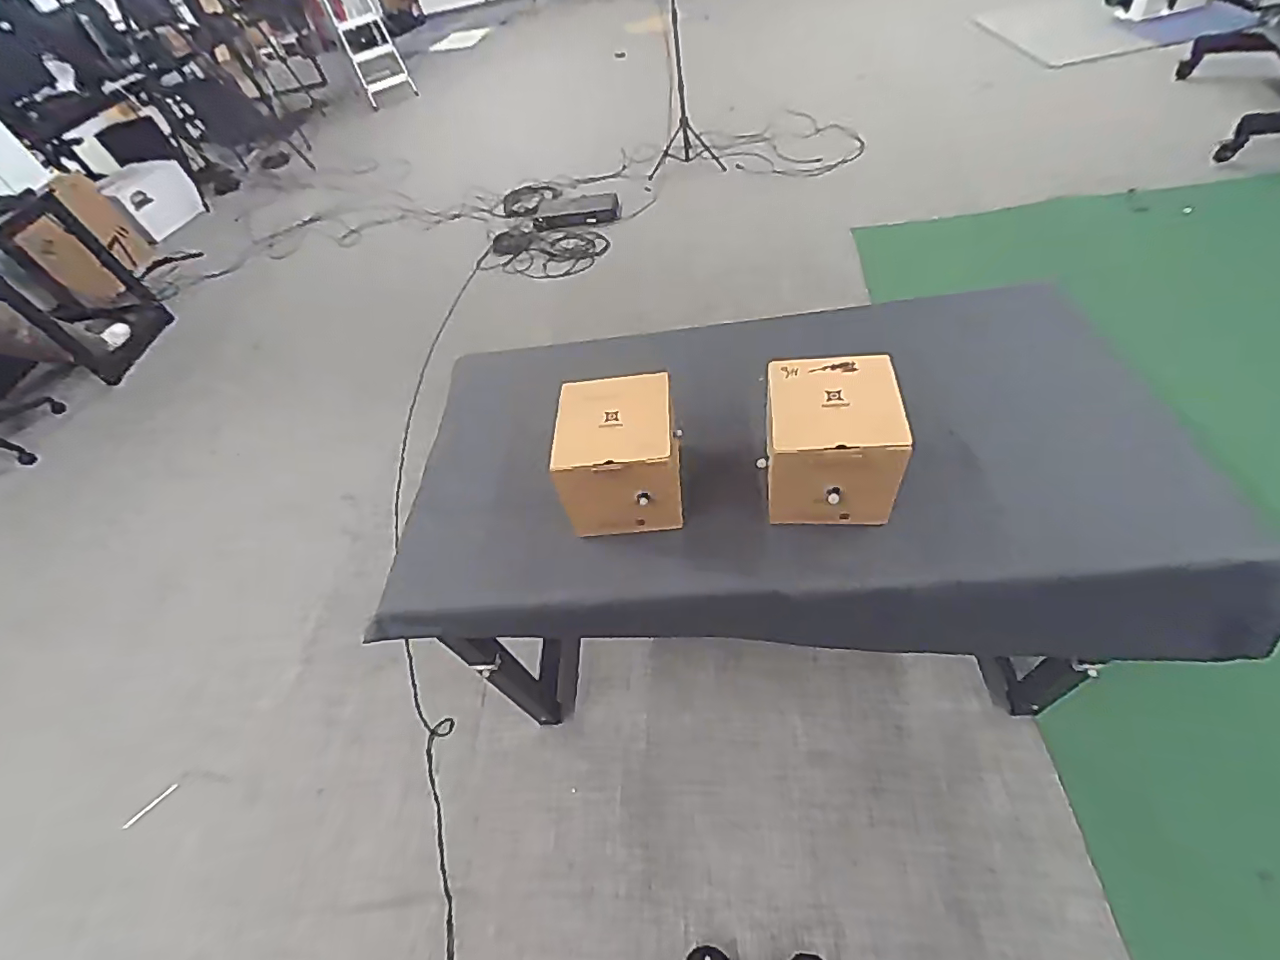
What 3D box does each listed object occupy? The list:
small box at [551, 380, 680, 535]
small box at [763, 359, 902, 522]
[{"bbox_3d":[-0.030,-0.027,0.838,0.168,0.176,0.179,-6,49,6],"label":"small box"},{"bbox_3d":[0.267,-0.050,0.787,0.168,0.176,0.179,-2,53,12],"label":"small box"}]
